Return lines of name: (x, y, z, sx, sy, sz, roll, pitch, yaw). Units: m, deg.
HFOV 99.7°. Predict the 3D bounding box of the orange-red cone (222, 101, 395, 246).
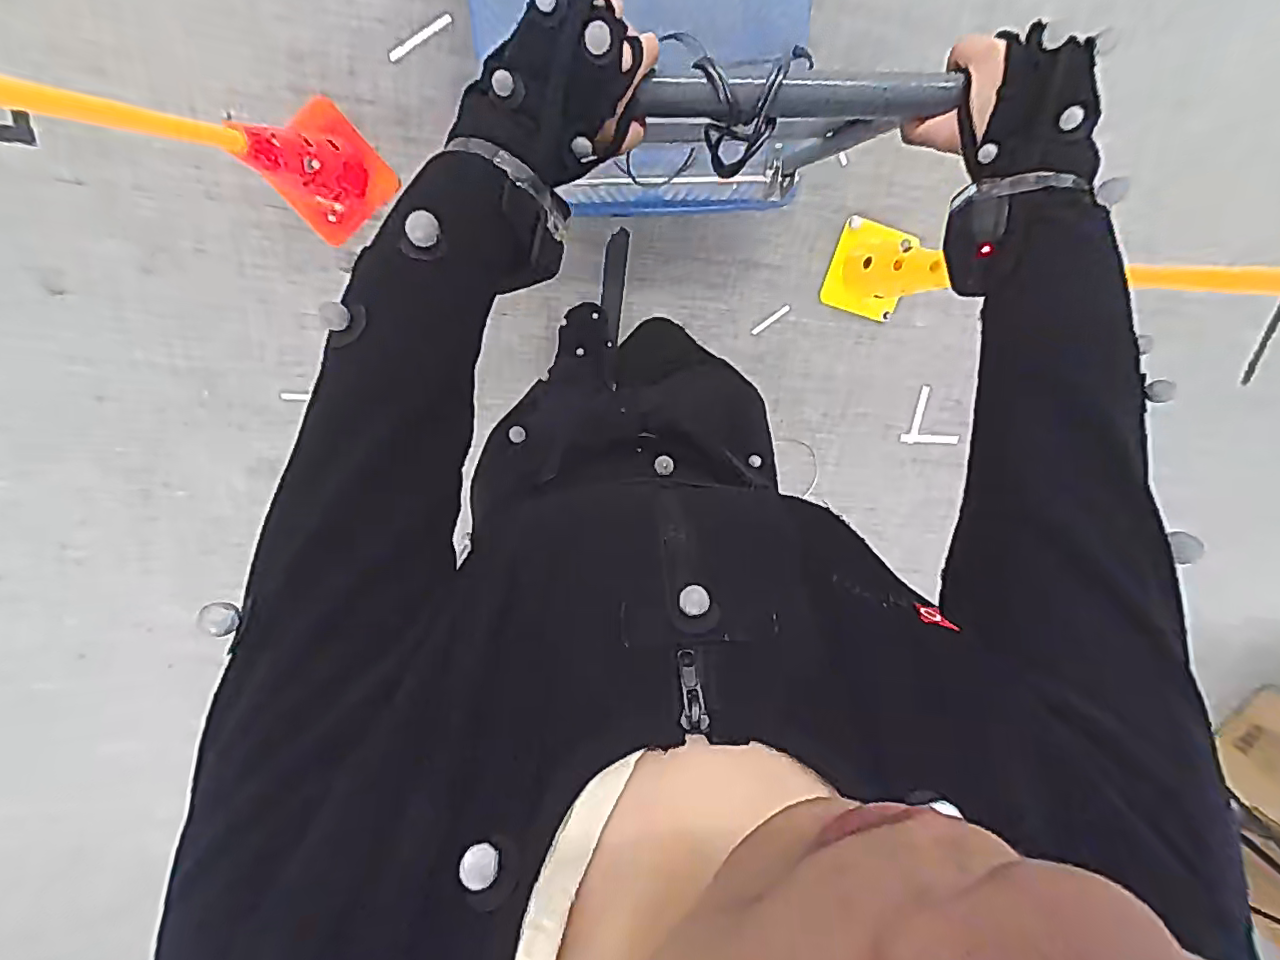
orange-red cone: (-0.589, -0.536, 0.908, 0.199, 0.360, 0.198, -38, 113, 6)
